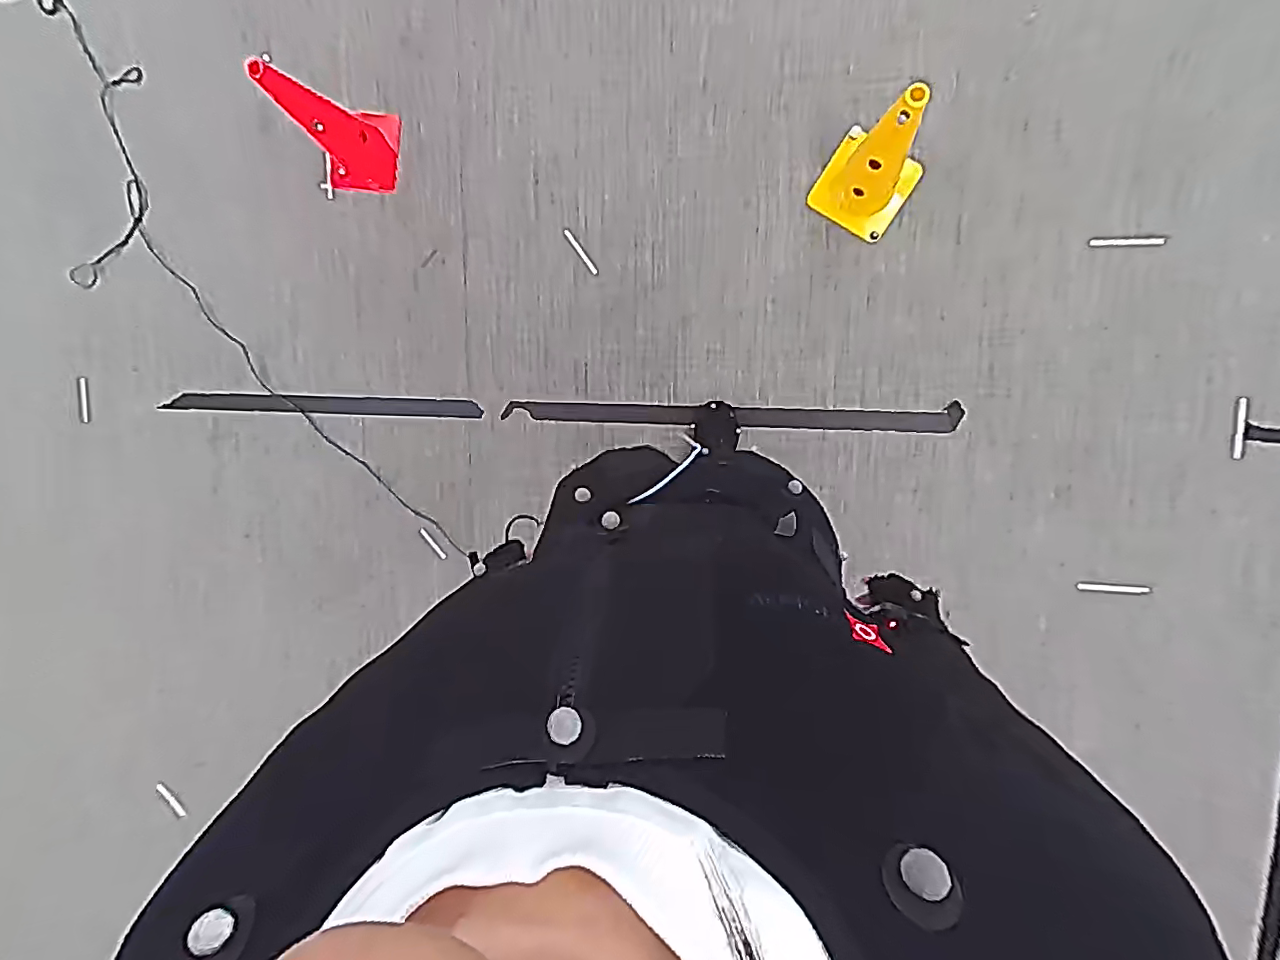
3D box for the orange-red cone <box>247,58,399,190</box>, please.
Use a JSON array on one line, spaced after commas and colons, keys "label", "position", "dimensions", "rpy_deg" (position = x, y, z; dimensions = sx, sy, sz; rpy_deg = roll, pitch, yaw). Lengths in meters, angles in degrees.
[{"label": "orange-red cone", "position": [-0.768, -0.871, 1.285], "dimensions": [0.199, 0.360, 0.198], "rpy_deg": [9, 97, 6]}]
